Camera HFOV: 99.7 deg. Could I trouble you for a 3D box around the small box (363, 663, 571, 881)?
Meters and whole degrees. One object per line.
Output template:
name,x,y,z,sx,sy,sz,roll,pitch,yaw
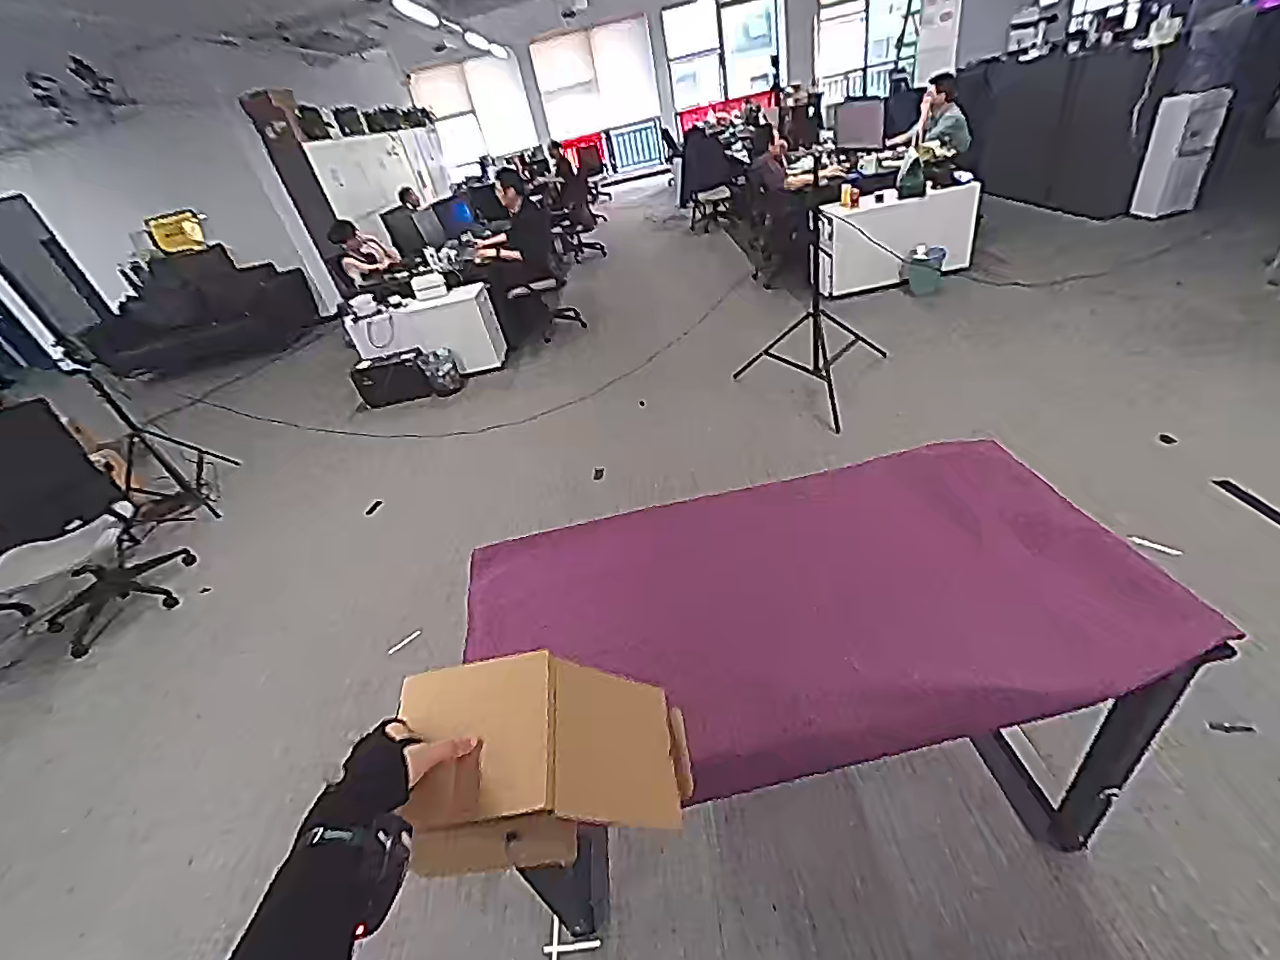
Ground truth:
small box,-0.175,0.334,0.618,0.179,0.176,0.168,-7,42,-1
